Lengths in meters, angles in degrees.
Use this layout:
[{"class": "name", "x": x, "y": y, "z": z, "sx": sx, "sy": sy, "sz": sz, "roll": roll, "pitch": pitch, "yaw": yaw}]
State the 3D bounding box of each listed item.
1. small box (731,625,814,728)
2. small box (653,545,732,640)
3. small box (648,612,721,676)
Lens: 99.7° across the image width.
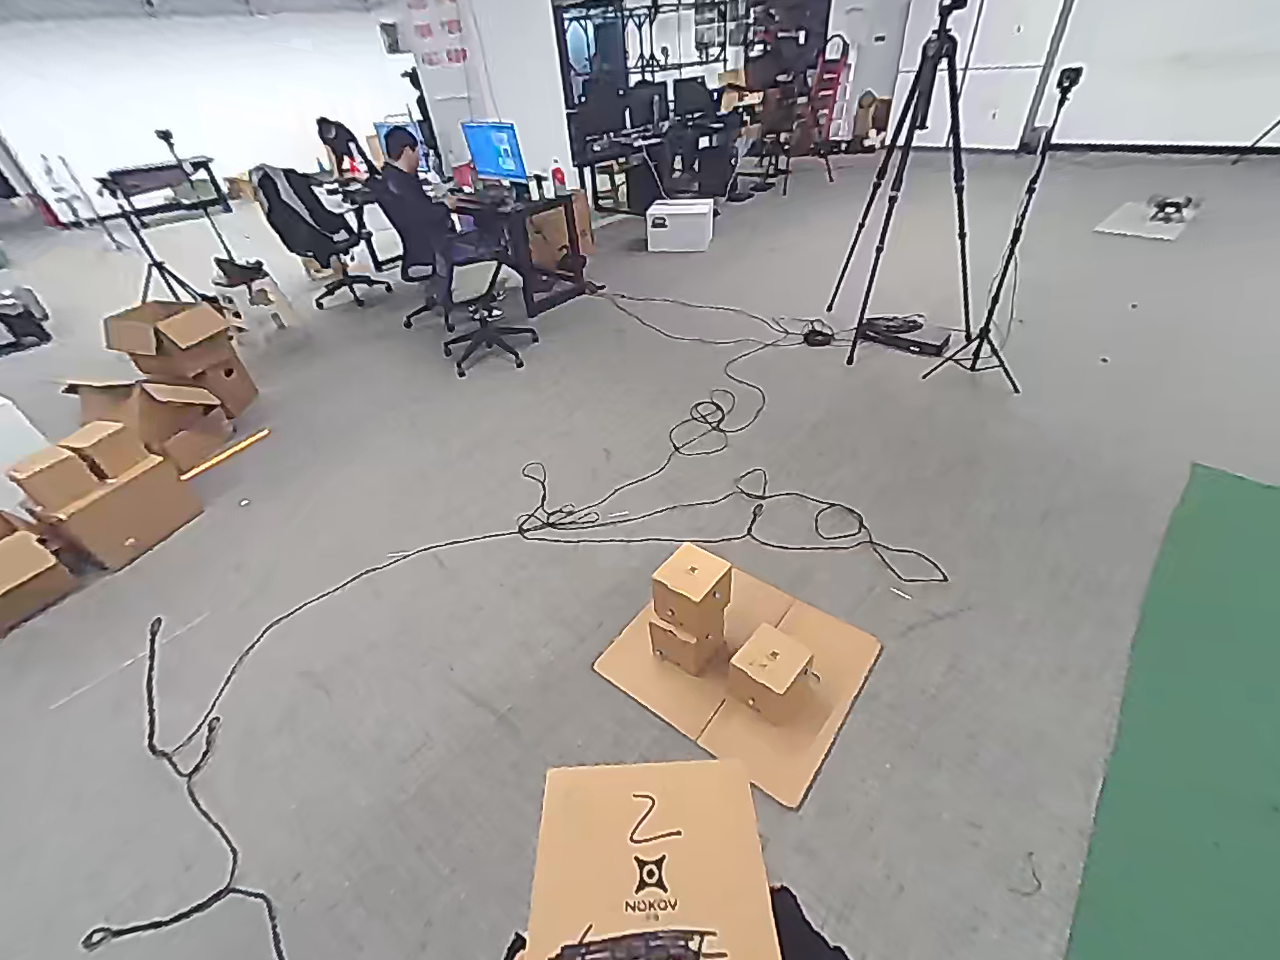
[{"class": "small box", "x": 0.372, "y": 0.561, "z": 1.544, "sx": 0.168, "sy": 0.176, "sz": 0.179, "roll": 27, "pitch": 49, "yaw": 36}, {"class": "small box", "x": 0.153, "y": 0.332, "z": 1.596, "sx": 0.168, "sy": 0.176, "sz": 0.179, "roll": 24, "pitch": 47, "yaw": 32}, {"class": "small box", "x": 0.145, "y": 0.473, "z": 1.681, "sx": 0.168, "sy": 0.176, "sz": 0.179, "roll": 22, "pitch": 45, "yaw": 31}]
